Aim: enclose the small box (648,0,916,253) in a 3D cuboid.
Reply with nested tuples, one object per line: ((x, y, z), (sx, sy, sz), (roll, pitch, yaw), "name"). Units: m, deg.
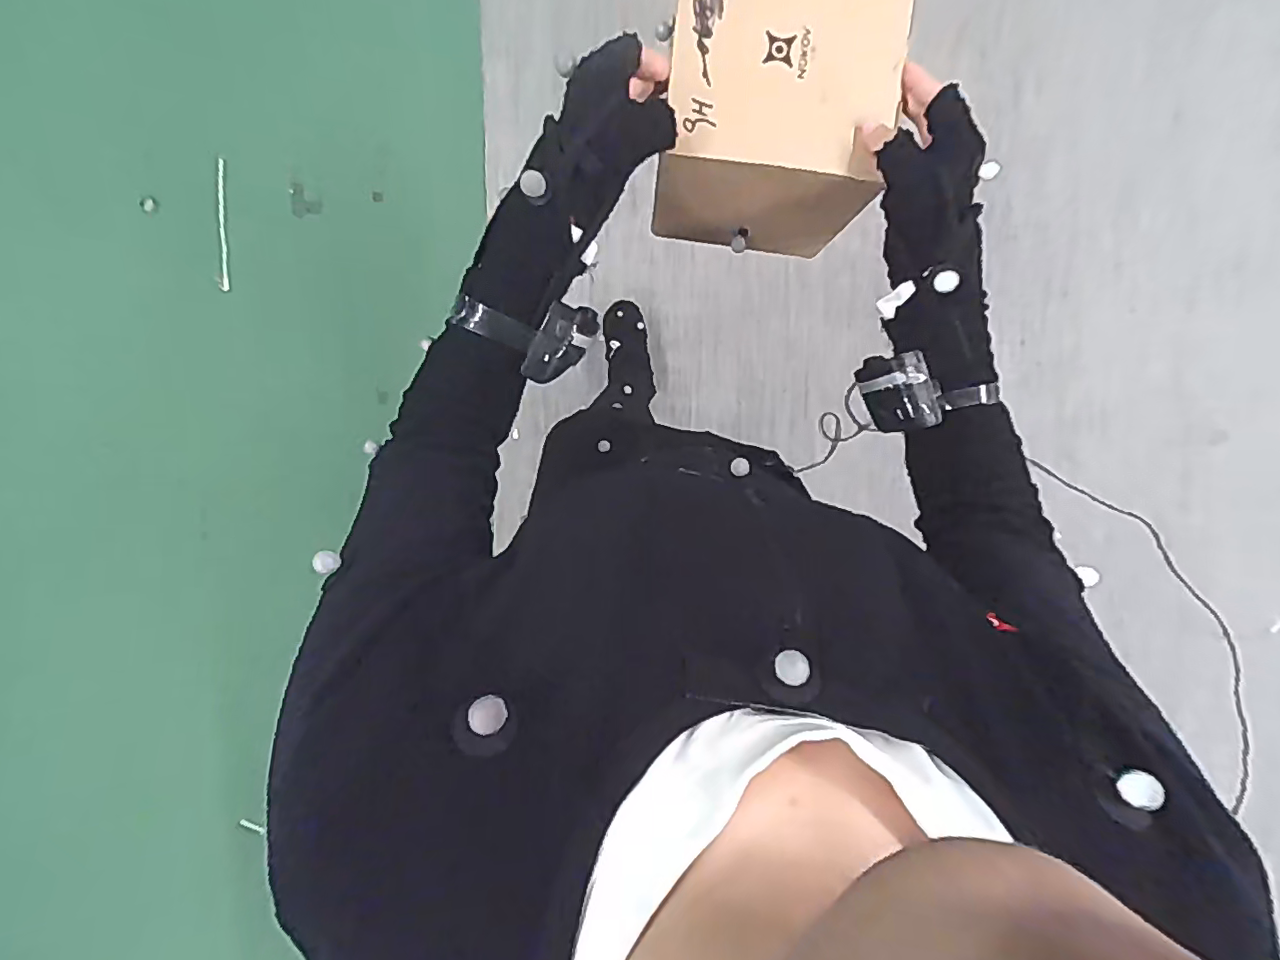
((0.108, -0.319, 0.479), (0.179, 0.176, 0.168), (7, 93, -3), "small box")
